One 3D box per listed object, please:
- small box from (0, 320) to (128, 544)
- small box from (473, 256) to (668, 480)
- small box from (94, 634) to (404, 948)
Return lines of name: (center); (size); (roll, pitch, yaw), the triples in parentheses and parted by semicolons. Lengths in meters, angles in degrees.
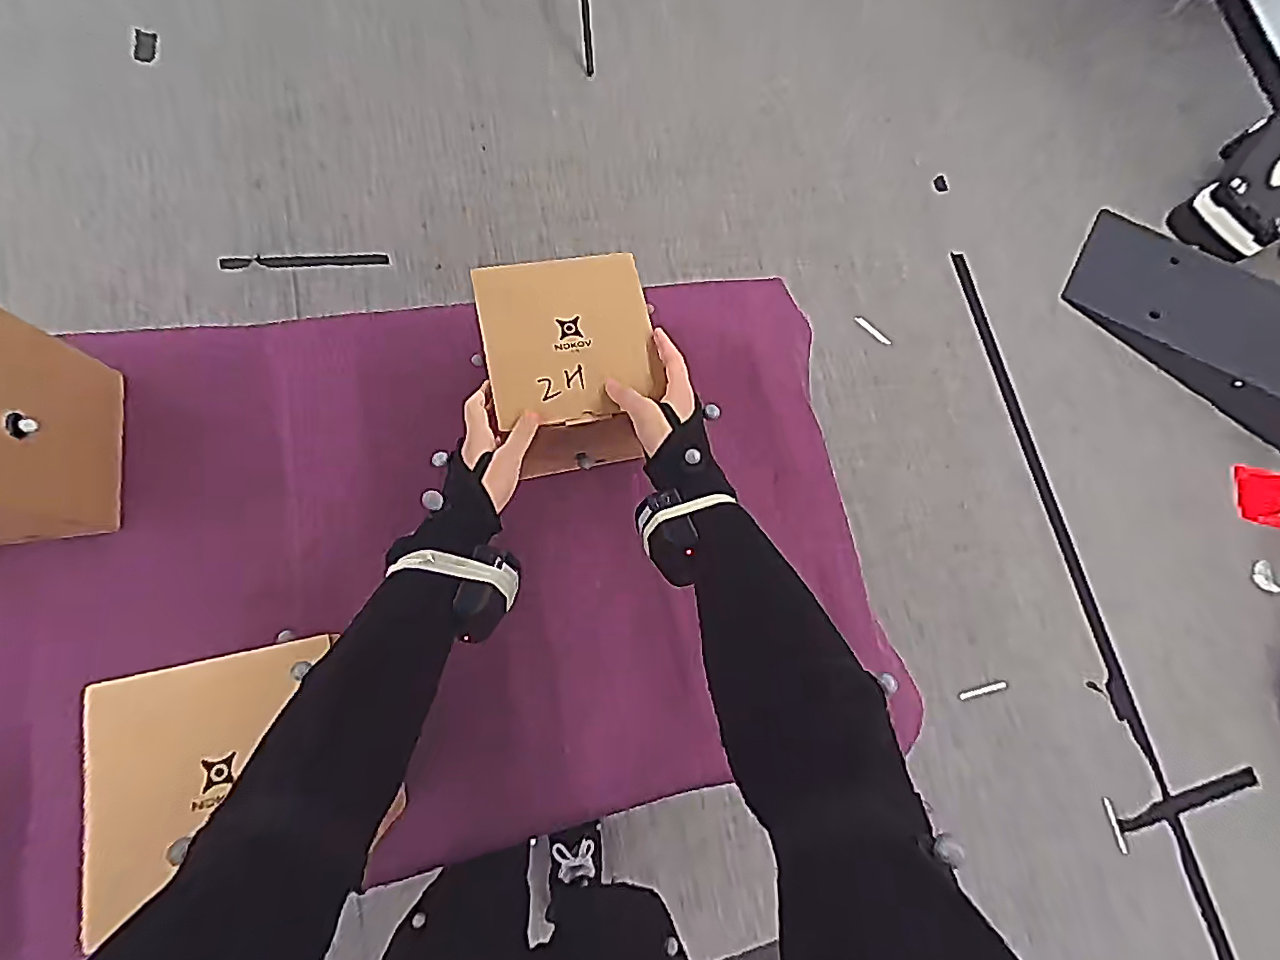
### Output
small box: (-0.613, -0.034, 0.486); (0.168, 0.176, 0.179); (-7, 78, -13)
small box: (-0.080, -0.116, 0.605); (0.168, 0.176, 0.179); (-11, 77, -10)
small box: (-0.320, 0.242, 0.476); (0.168, 0.176, 0.179); (-10, 77, -13)
